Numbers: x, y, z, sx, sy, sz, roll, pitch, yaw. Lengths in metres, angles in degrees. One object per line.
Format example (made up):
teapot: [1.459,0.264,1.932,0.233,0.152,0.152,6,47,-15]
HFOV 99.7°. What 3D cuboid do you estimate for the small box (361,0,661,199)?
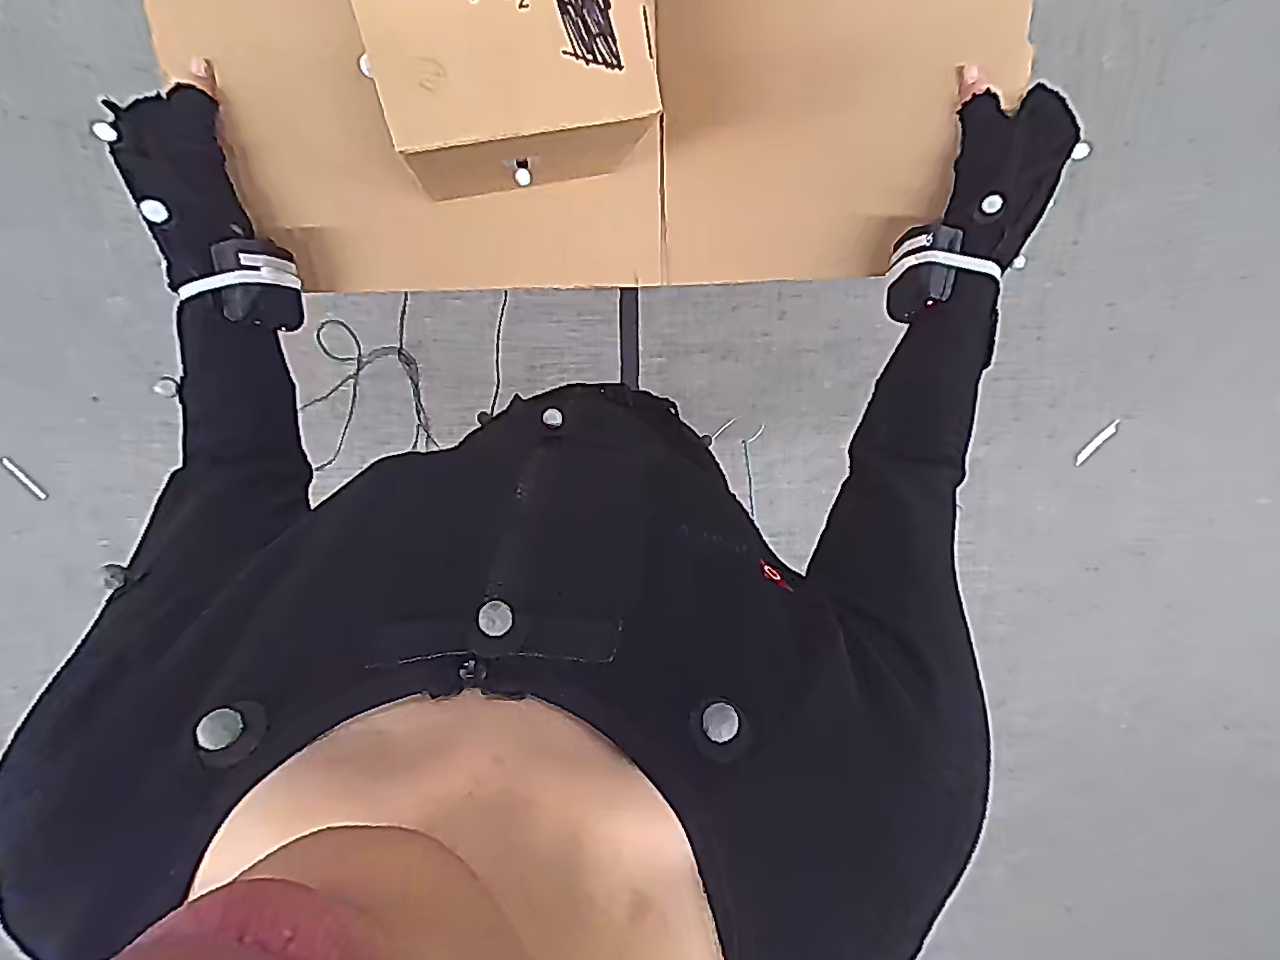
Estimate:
small box: [-0.100,-0.326,0.405,0.179,0.176,0.168,-14,109,-8]
